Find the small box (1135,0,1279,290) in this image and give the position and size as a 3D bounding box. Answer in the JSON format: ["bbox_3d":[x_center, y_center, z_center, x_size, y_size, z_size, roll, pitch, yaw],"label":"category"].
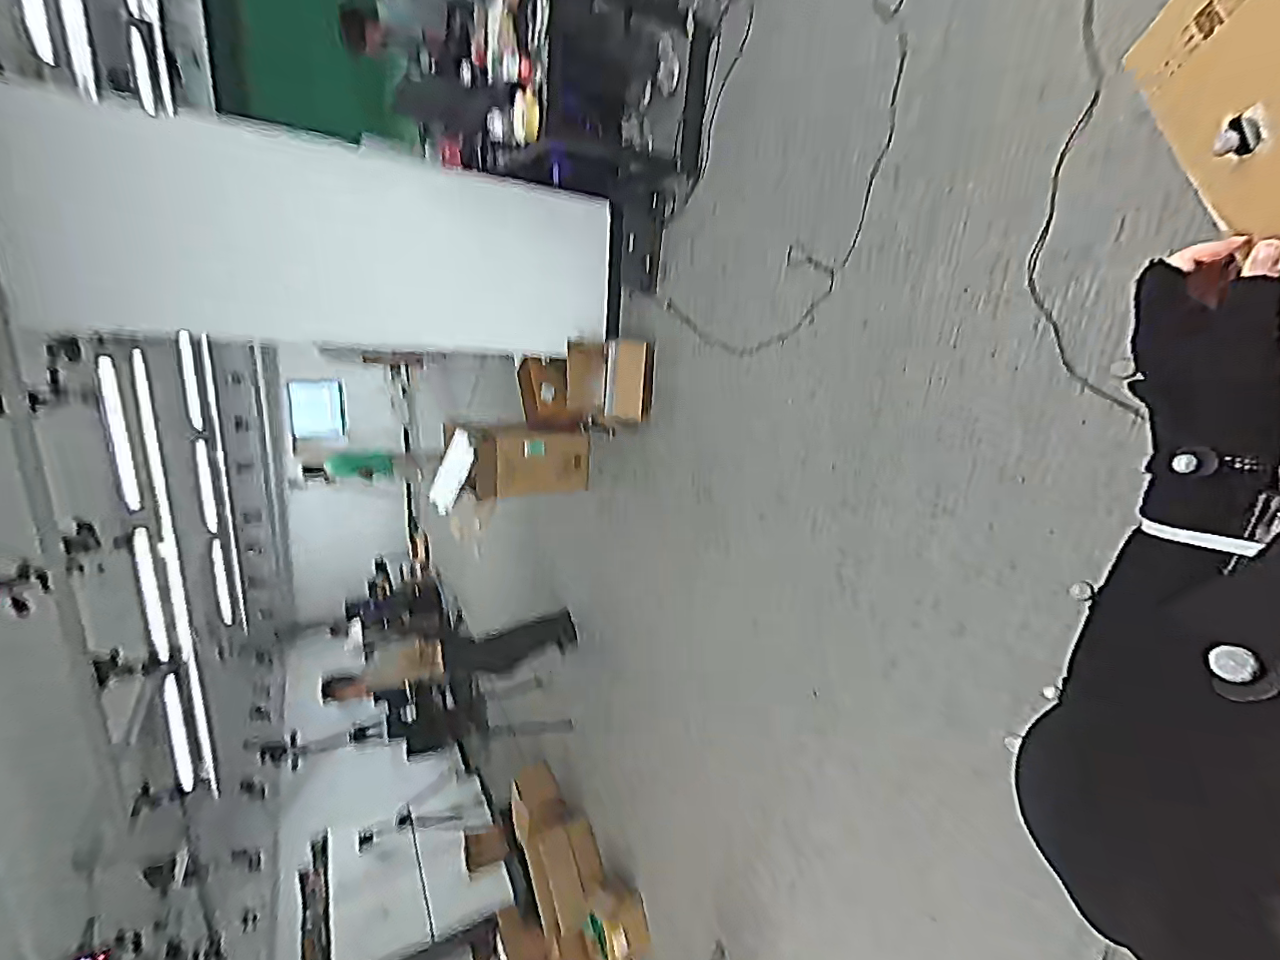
[{"bbox_3d":[0.401,-0.226,0.252,0.179,0.168,0.176,-25,86,14],"label":"small box"}]
